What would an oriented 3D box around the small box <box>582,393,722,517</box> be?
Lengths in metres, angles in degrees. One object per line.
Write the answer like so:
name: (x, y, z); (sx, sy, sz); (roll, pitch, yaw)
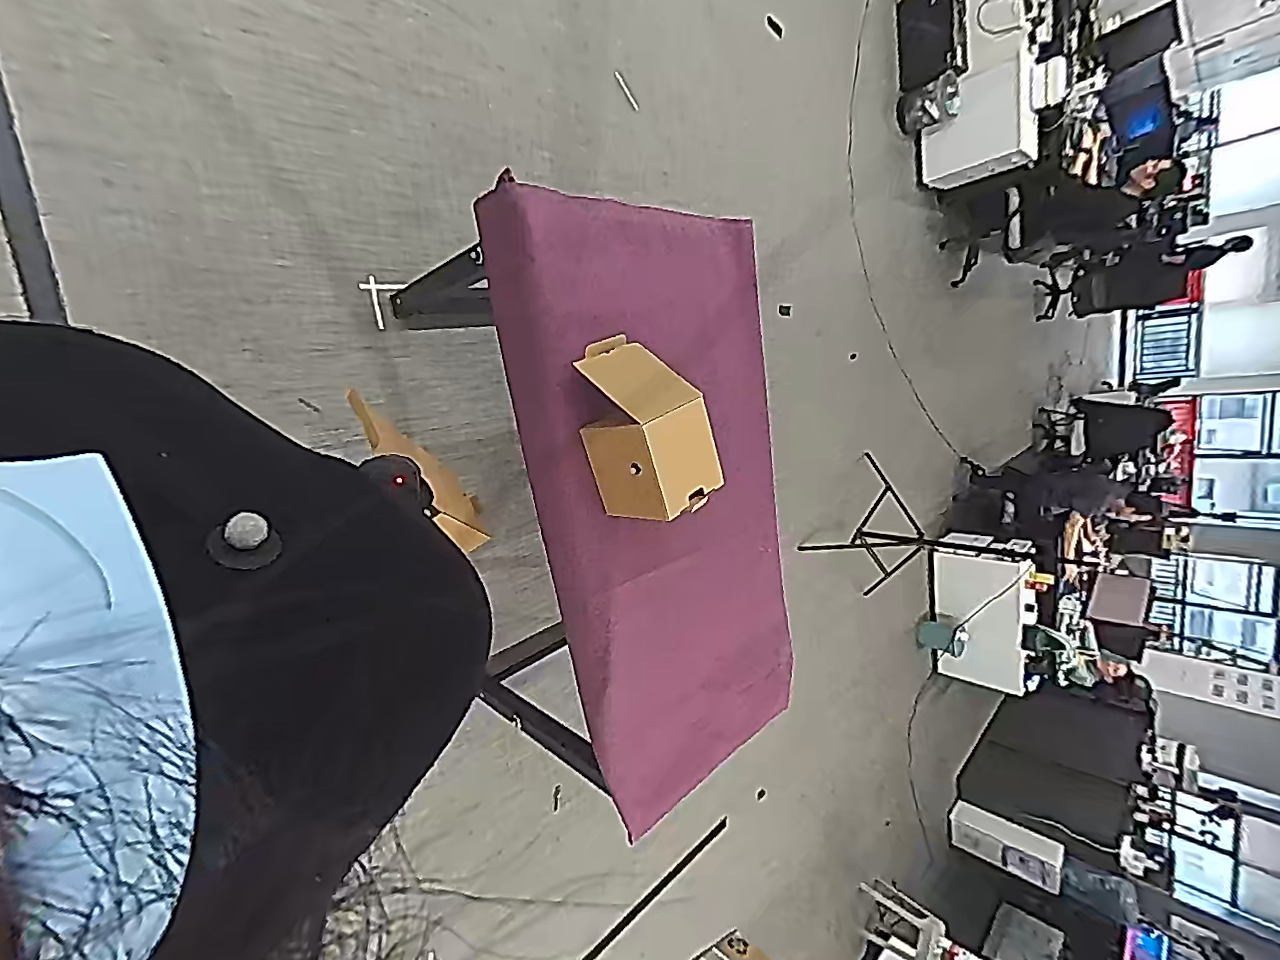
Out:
small box: (0.019, -0.046, 0.989); (0.168, 0.176, 0.179); (-29, 111, -38)
